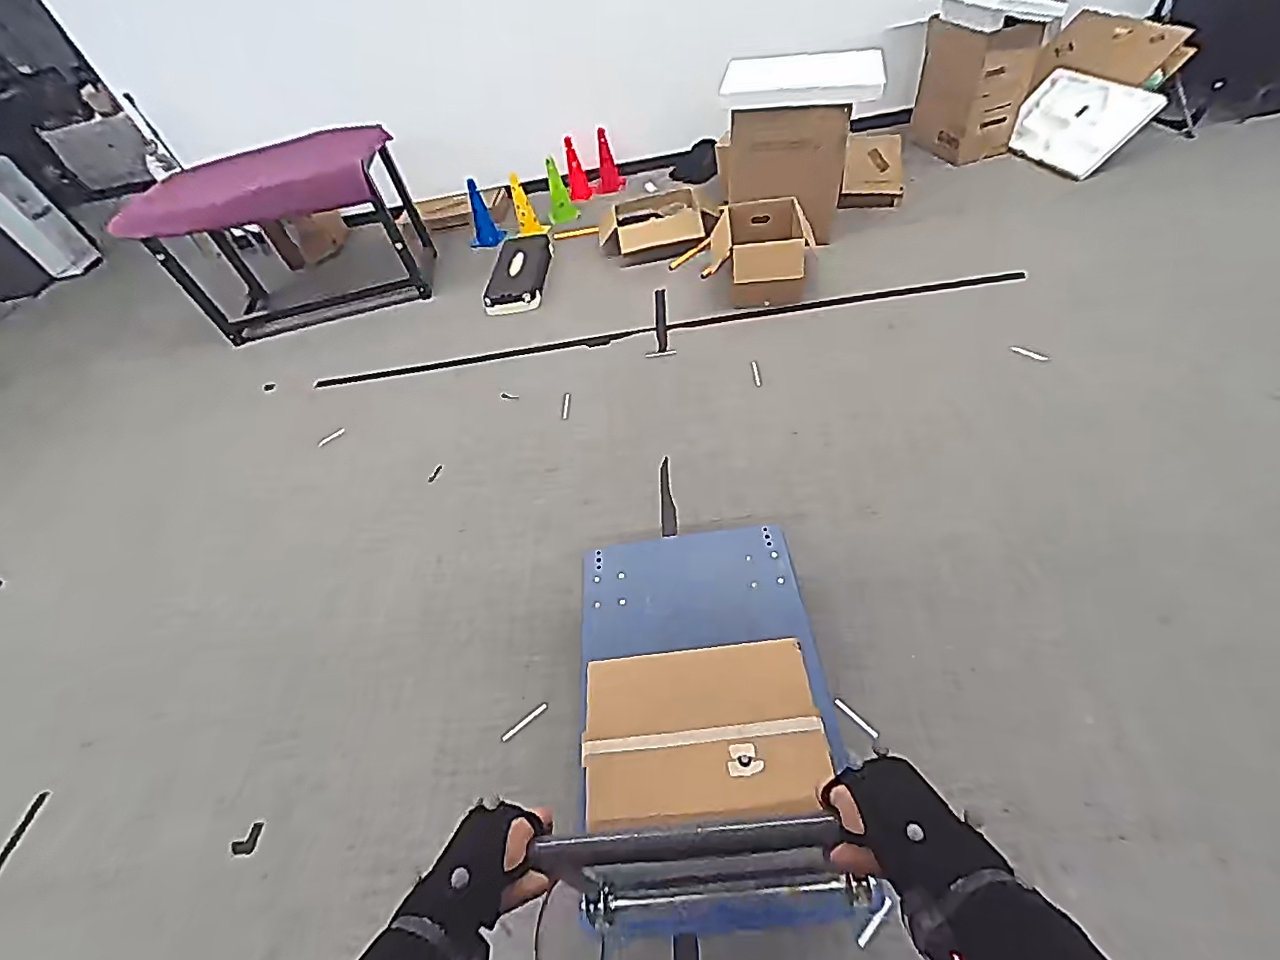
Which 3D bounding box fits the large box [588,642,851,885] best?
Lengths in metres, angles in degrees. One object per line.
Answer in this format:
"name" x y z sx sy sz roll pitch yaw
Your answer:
"large box" 0.128 0.540 1.019 0.408 0.320 0.320 -8 49 4
